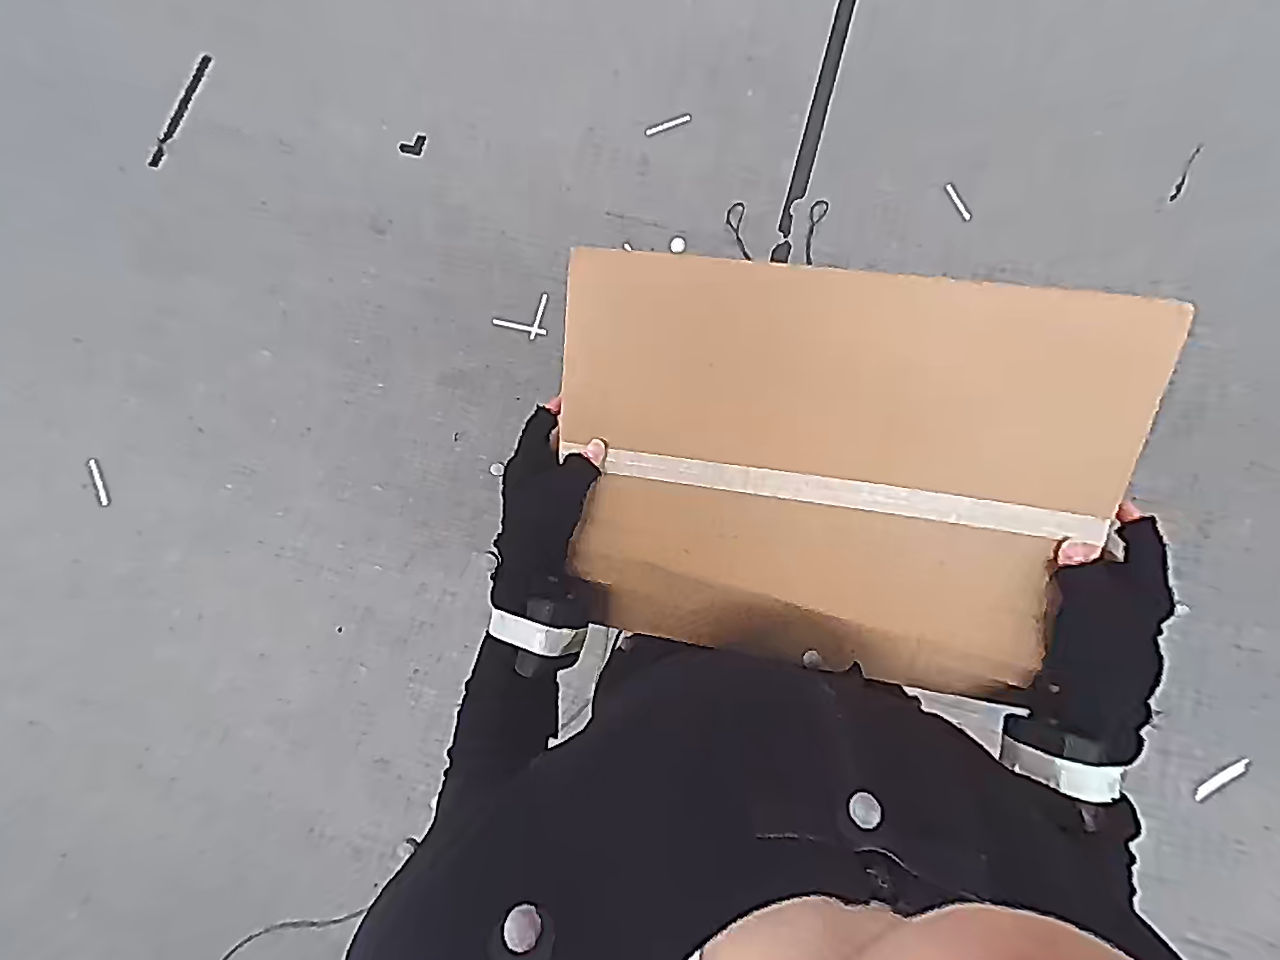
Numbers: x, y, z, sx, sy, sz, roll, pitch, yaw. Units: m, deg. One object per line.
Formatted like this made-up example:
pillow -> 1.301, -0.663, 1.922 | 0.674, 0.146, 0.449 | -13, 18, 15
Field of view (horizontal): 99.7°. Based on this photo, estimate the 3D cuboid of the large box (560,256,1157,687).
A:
large box -> 0.156, -0.042, 0.565 | 0.408, 0.320, 0.320 | 9, 110, 8
